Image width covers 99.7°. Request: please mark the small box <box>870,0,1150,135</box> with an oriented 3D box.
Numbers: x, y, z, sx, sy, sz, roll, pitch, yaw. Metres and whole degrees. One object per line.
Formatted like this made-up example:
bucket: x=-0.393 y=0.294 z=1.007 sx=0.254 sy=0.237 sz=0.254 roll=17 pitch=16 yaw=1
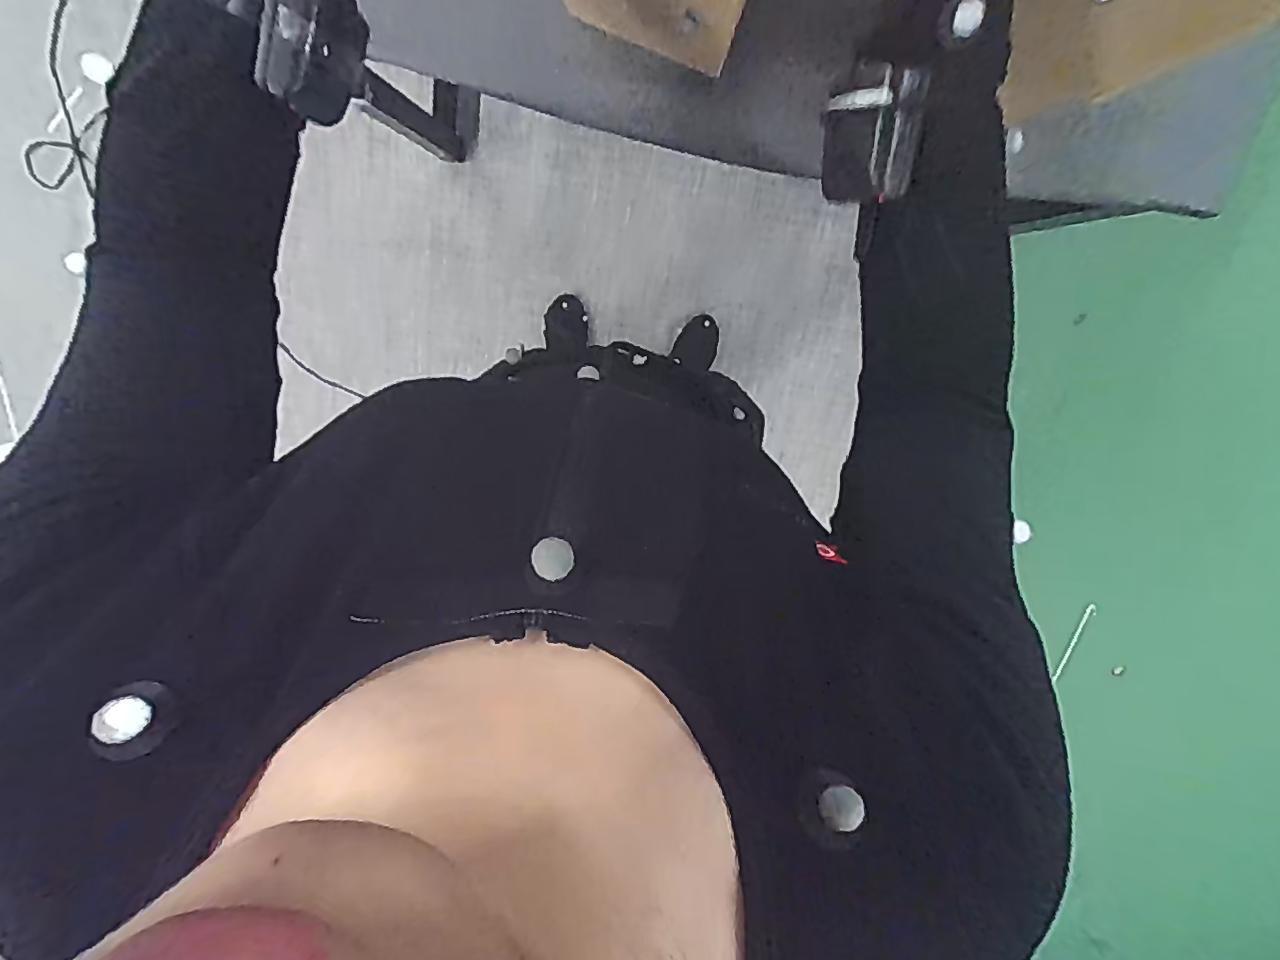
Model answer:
small box: x=0.338 y=-0.454 z=0.498 sx=0.168 sy=0.176 sz=0.179 roll=12 pitch=109 yaw=0
